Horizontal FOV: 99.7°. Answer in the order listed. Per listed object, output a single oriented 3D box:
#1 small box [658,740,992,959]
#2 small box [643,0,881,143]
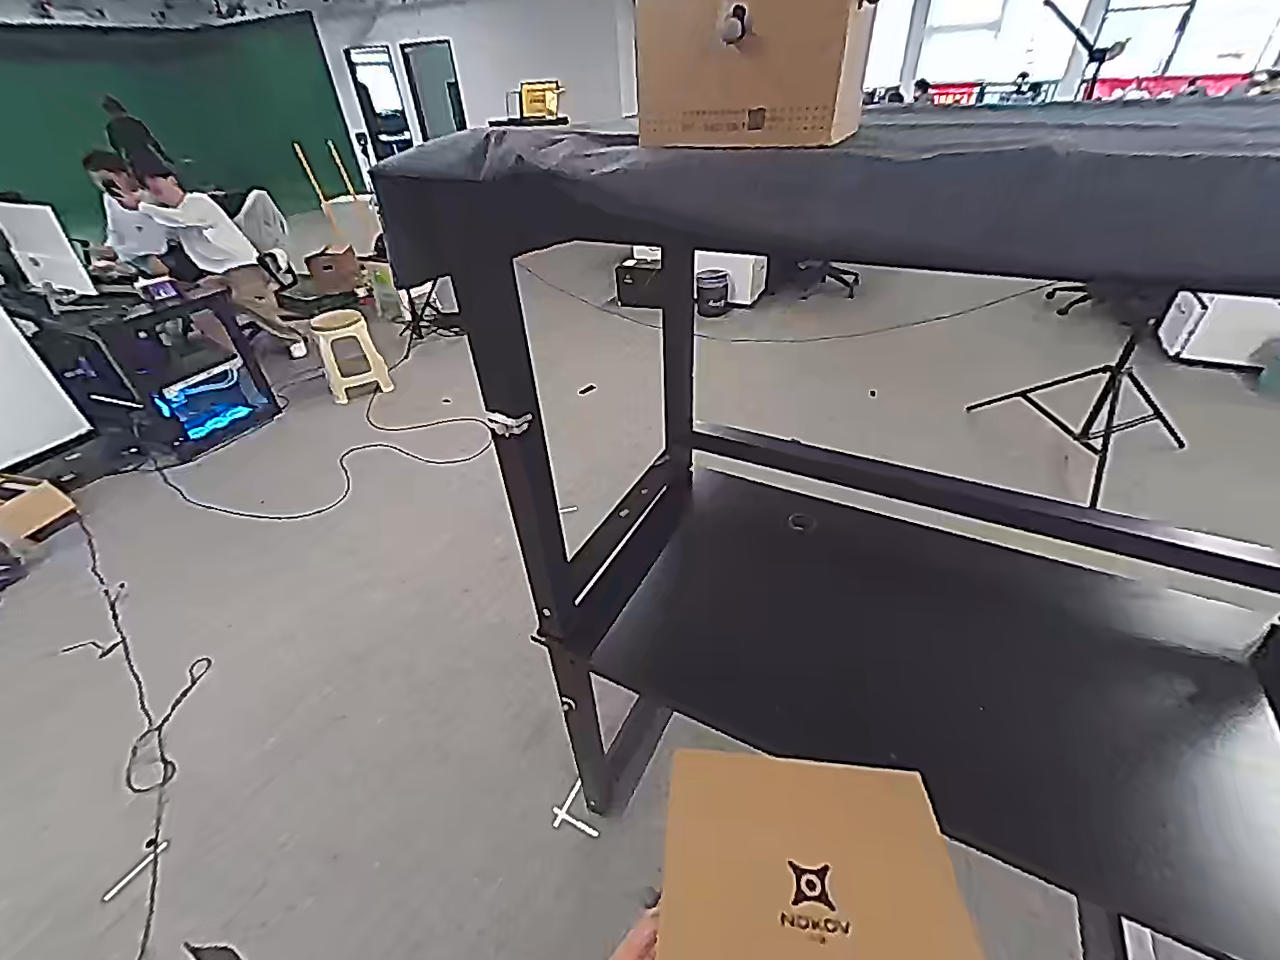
[{"bbox_3d":[0.097,0.297,0.330,0.168,0.176,0.179,2,28,8],"label":"small box"},{"bbox_3d":[0.109,-0.390,0.458,0.168,0.176,0.179,14,39,20],"label":"small box"}]
